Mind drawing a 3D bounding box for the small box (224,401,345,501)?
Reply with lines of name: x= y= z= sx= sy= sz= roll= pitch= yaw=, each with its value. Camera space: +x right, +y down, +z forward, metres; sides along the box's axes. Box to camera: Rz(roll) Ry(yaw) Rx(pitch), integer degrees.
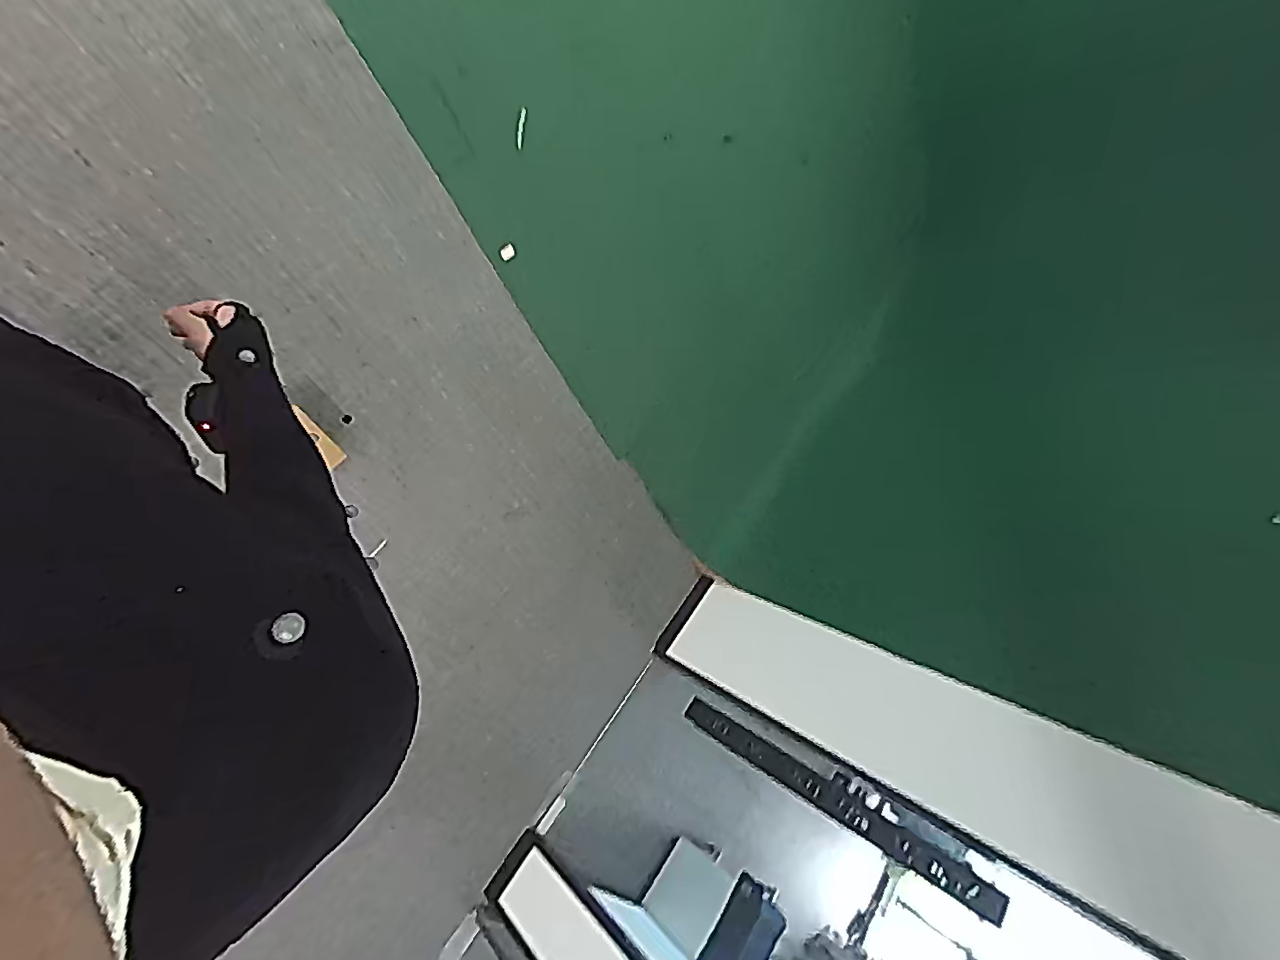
small box: x=-0.886 y=-0.080 z=1.348 sx=0.168 sy=0.176 sz=0.179 roll=-49 pitch=131 yaw=-23
